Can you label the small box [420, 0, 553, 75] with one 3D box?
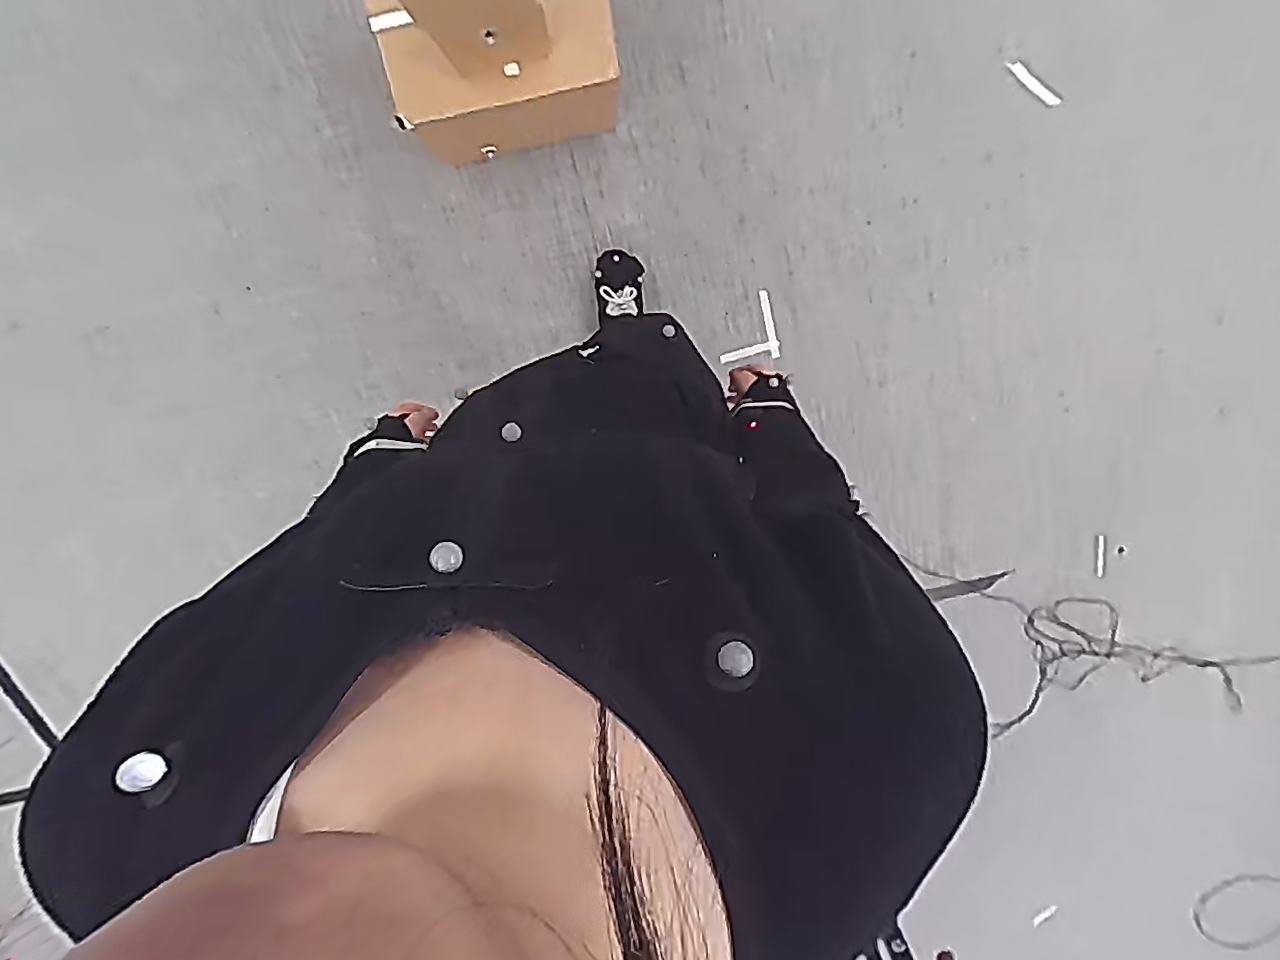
[{"bbox_3d":[-0.247,-0.773,0.847,0.179,0.176,0.168,-14,110,1],"label":"small box"}]
